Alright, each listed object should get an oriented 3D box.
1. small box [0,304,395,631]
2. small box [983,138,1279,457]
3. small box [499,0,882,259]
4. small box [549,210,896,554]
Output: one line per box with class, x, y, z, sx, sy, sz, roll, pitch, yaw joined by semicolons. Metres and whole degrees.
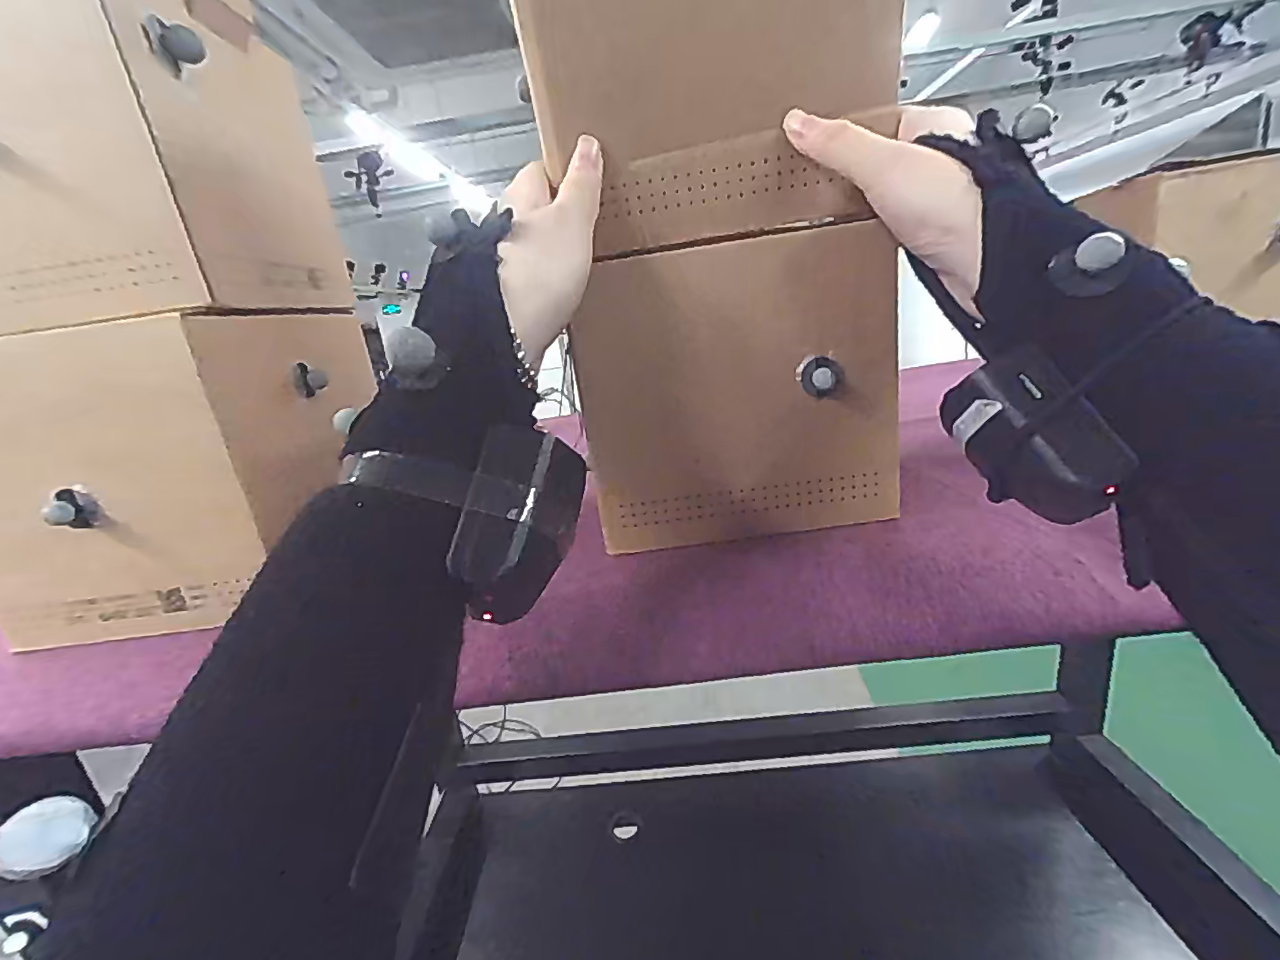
small box;-0.288;-0.015;0.356;0.168;0.176;0.179;-7;18;1
small box;0.369;-0.118;0.372;0.179;0.176;0.168;-7;15;5
small box;0.024;-0.231;0.307;0.179;0.176;0.168;-9;29;2
small box;0.051;-0.066;0.367;0.179;0.176;0.168;-9;16;2
